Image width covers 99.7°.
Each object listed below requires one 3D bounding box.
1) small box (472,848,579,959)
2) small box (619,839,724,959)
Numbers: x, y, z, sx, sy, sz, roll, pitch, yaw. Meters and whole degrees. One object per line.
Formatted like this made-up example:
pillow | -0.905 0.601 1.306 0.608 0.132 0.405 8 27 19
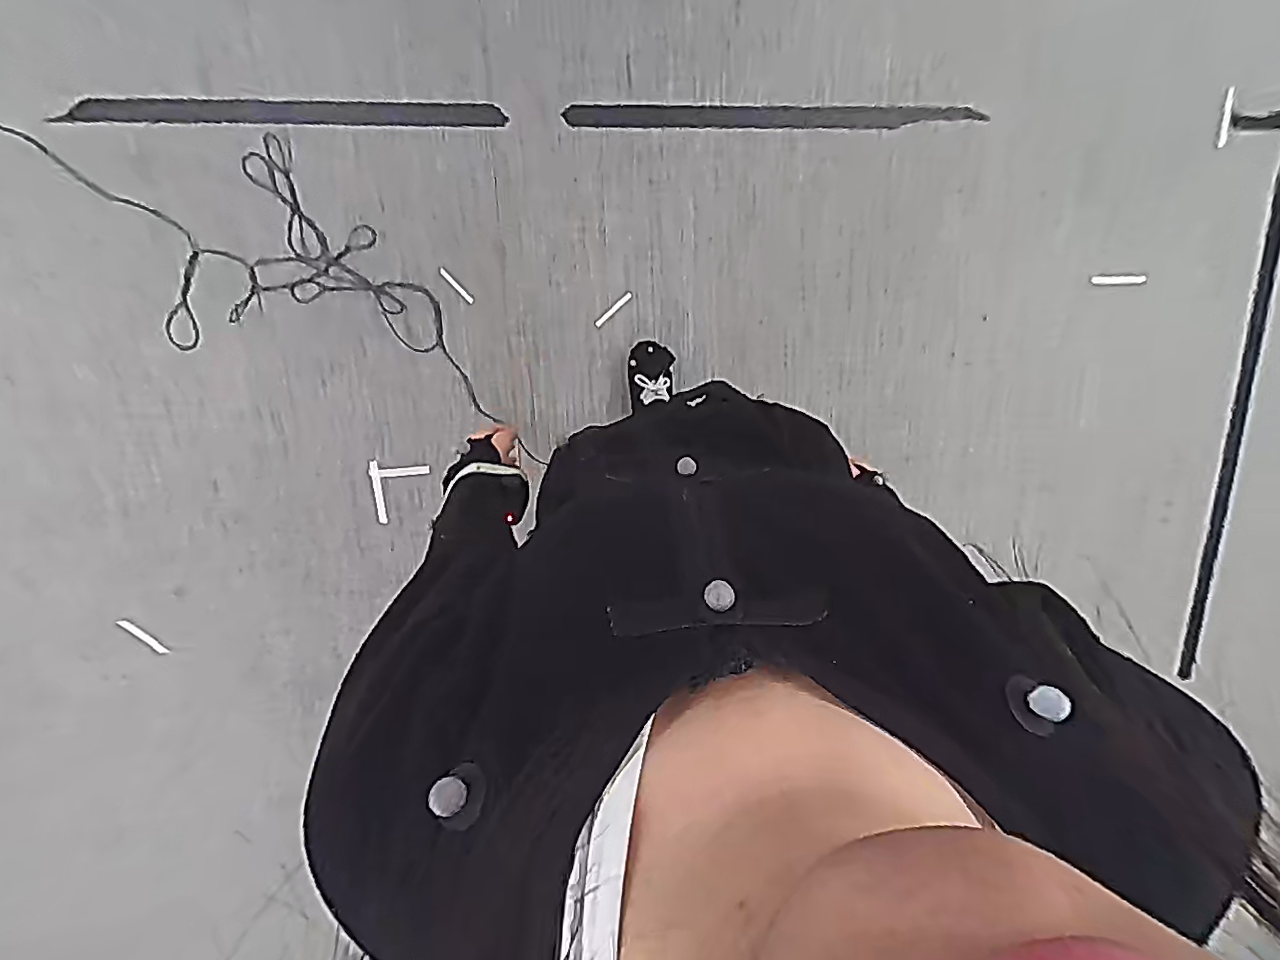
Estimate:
small box | -0.197 0.793 0.965 0.168 0.176 0.179 0 102 -4
small box | 0.049 0.788 0.980 0.168 0.176 0.179 3 102 -4
